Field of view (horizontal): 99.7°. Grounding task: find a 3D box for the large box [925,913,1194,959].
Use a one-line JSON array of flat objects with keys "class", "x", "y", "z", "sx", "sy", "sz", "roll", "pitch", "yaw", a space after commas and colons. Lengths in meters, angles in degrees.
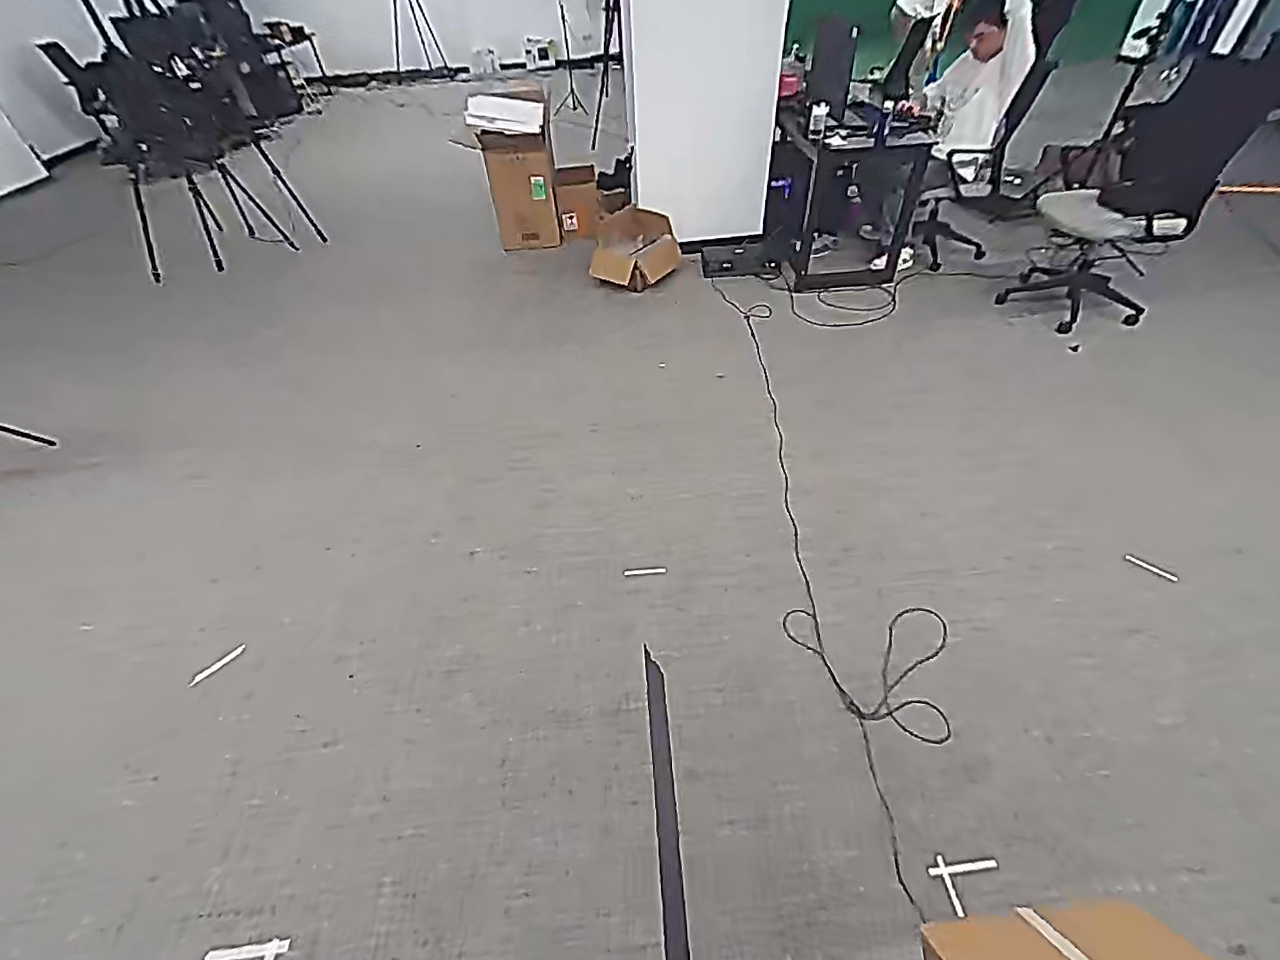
[{"class": "large box", "x": 0.572, "y": 0.754, "z": 0.563, "sx": 0.320, "sy": 0.408, "sz": 0.320, "roll": -5, "pitch": 81, "yaw": -2}]
